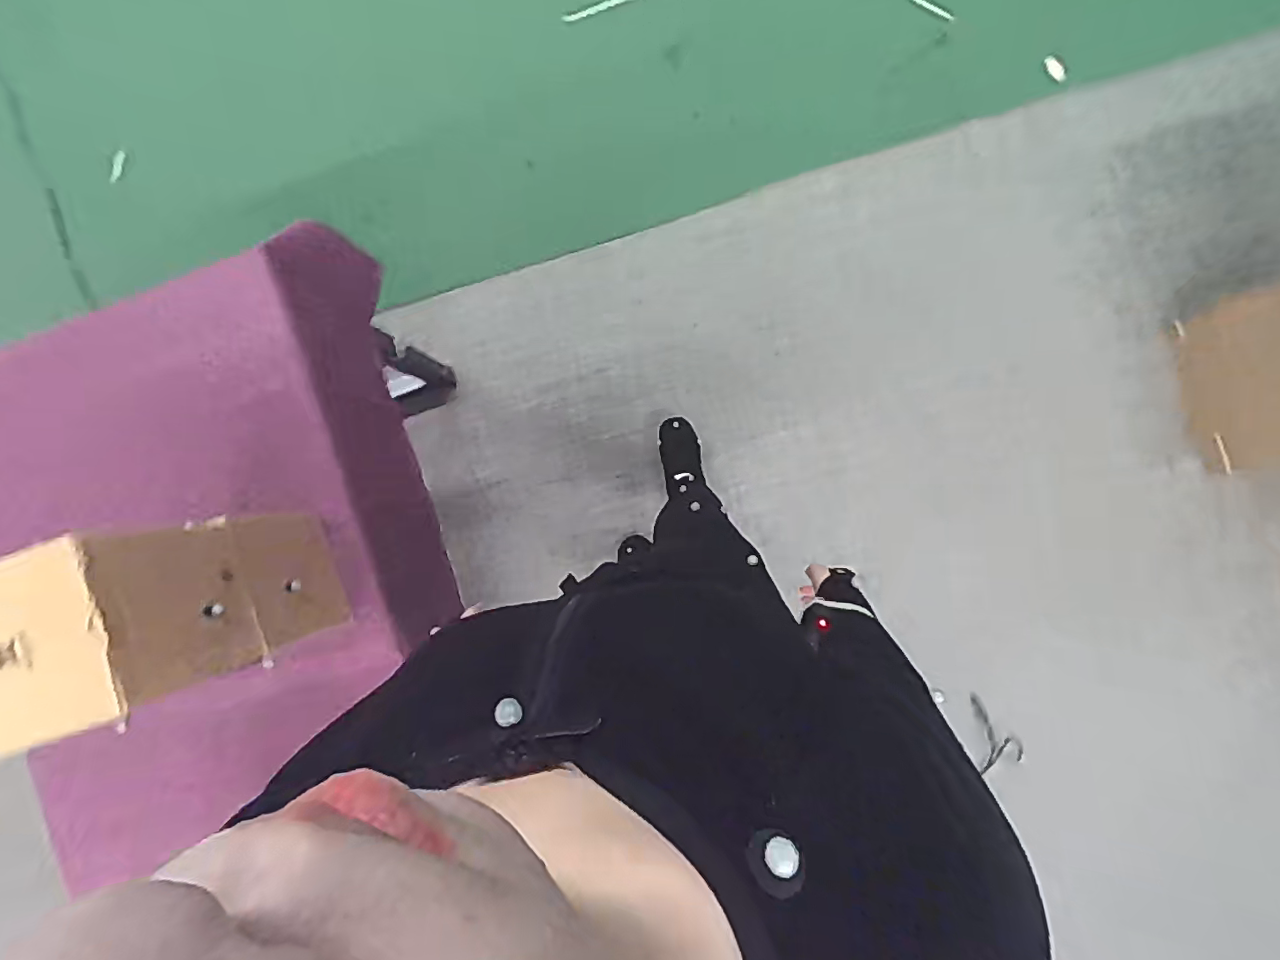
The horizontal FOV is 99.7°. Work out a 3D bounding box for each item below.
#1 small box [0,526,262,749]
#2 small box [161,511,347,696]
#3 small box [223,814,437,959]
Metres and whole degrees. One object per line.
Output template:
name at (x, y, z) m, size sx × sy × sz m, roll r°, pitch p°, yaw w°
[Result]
small box at (-0.547, 0.153, 0.557) m, size 0.179 × 0.176 × 0.168 m, roll -20°, pitch 87°, yaw 3°
small box at (-0.531, 0.151, 0.720) m, size 0.168 × 0.176 × 0.179 m, roll -21°, pitch 88°, yaw 3°
small box at (-0.387, 0.574, 0.699) m, size 0.179 × 0.176 × 0.168 m, roll -20°, pitch 87°, yaw 3°
